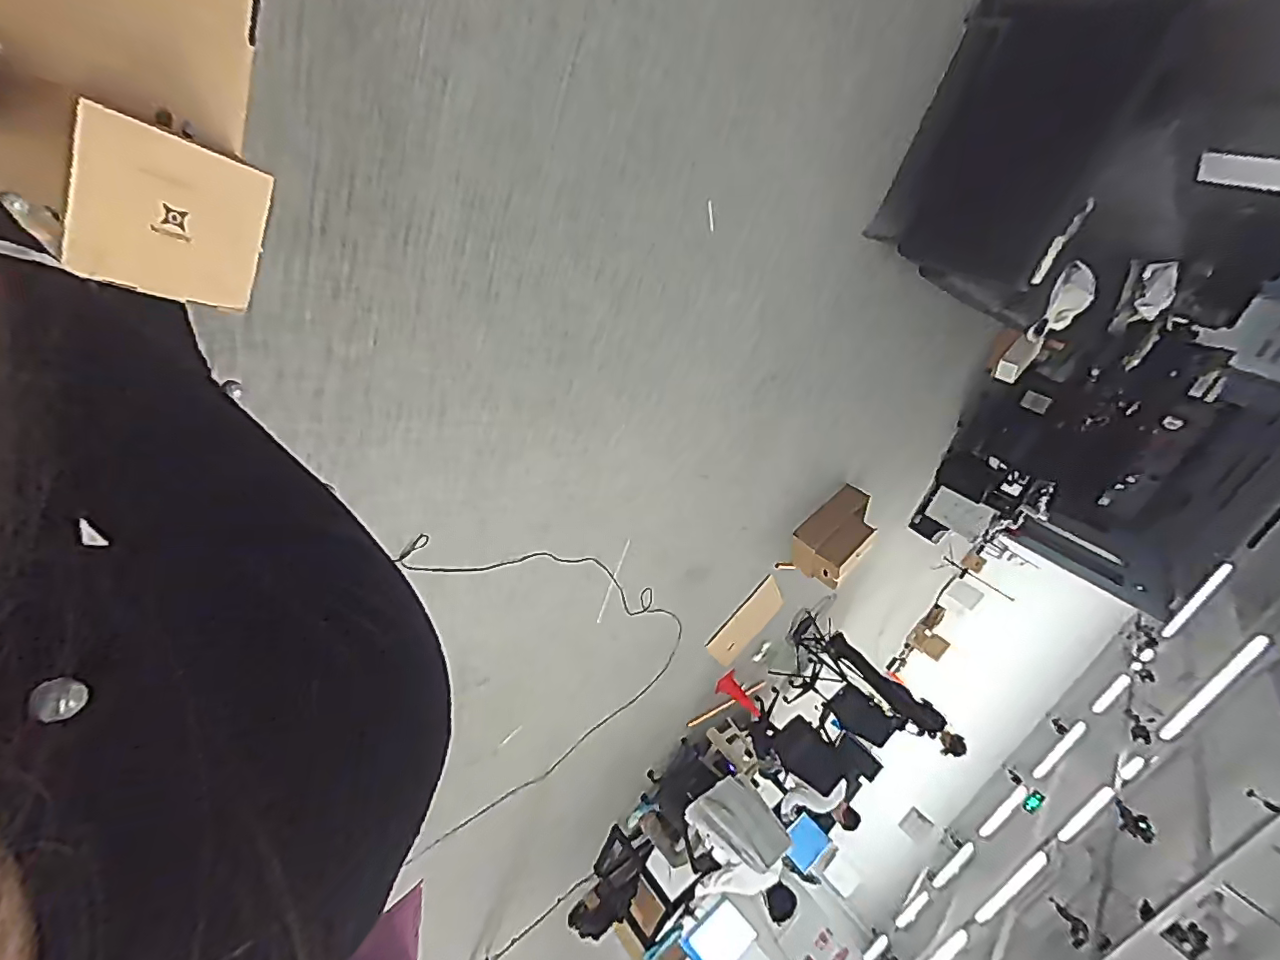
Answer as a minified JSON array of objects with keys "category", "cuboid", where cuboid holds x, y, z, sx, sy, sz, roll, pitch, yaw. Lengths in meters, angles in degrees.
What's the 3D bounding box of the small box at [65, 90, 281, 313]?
[{"category":"small box","cuboid":[-0.566,-0.330,0.652,0.168,0.176,0.179,4,115,-51]}]
